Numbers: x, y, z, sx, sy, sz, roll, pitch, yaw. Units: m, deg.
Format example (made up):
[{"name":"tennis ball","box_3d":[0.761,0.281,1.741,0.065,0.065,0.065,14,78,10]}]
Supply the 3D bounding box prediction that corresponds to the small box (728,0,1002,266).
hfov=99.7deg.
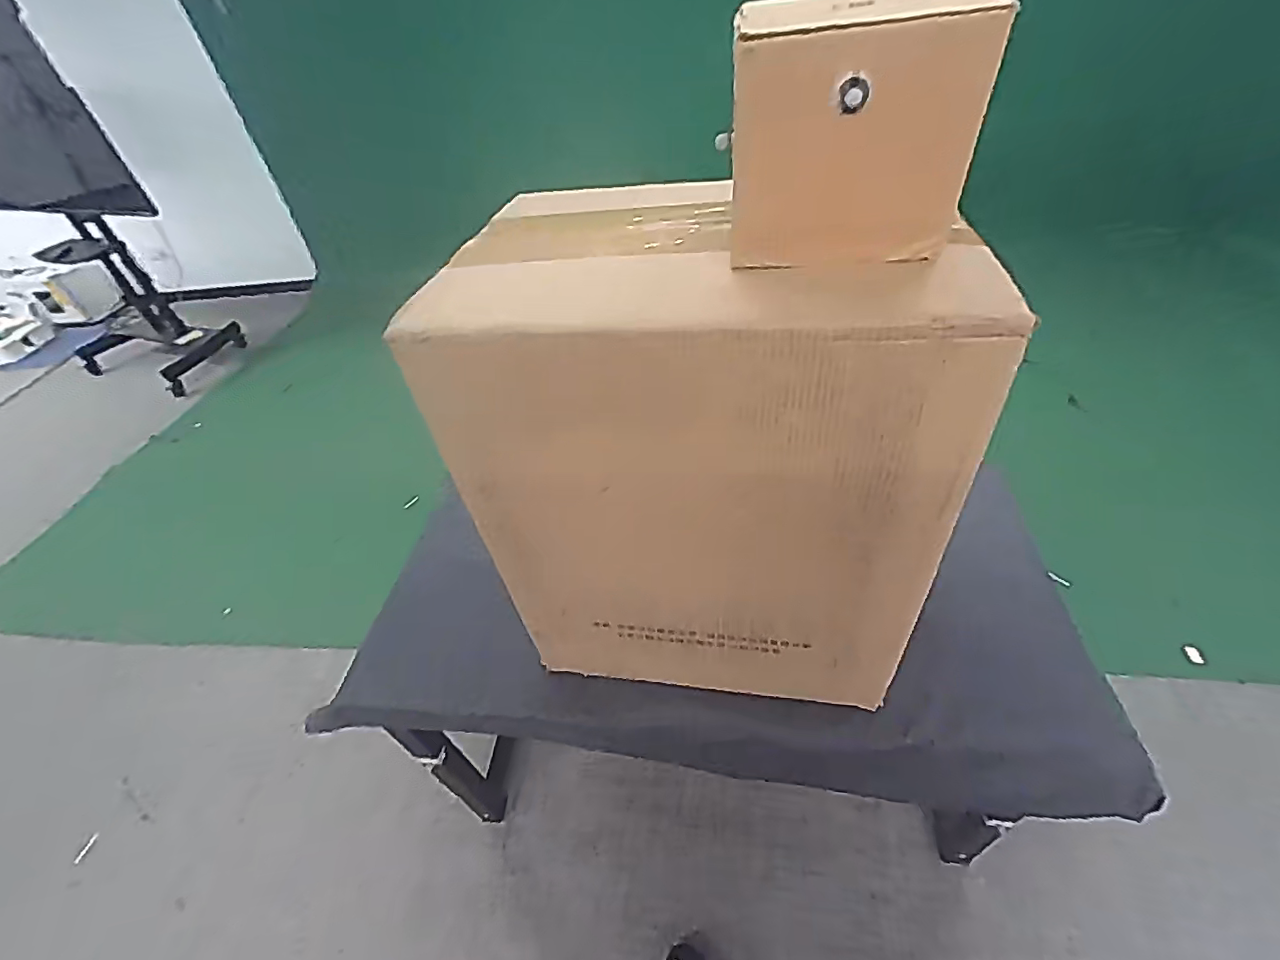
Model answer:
[{"name":"small box","box_3d":[0.168,-0.301,0.471,0.179,0.176,0.168,3,47,9]}]
